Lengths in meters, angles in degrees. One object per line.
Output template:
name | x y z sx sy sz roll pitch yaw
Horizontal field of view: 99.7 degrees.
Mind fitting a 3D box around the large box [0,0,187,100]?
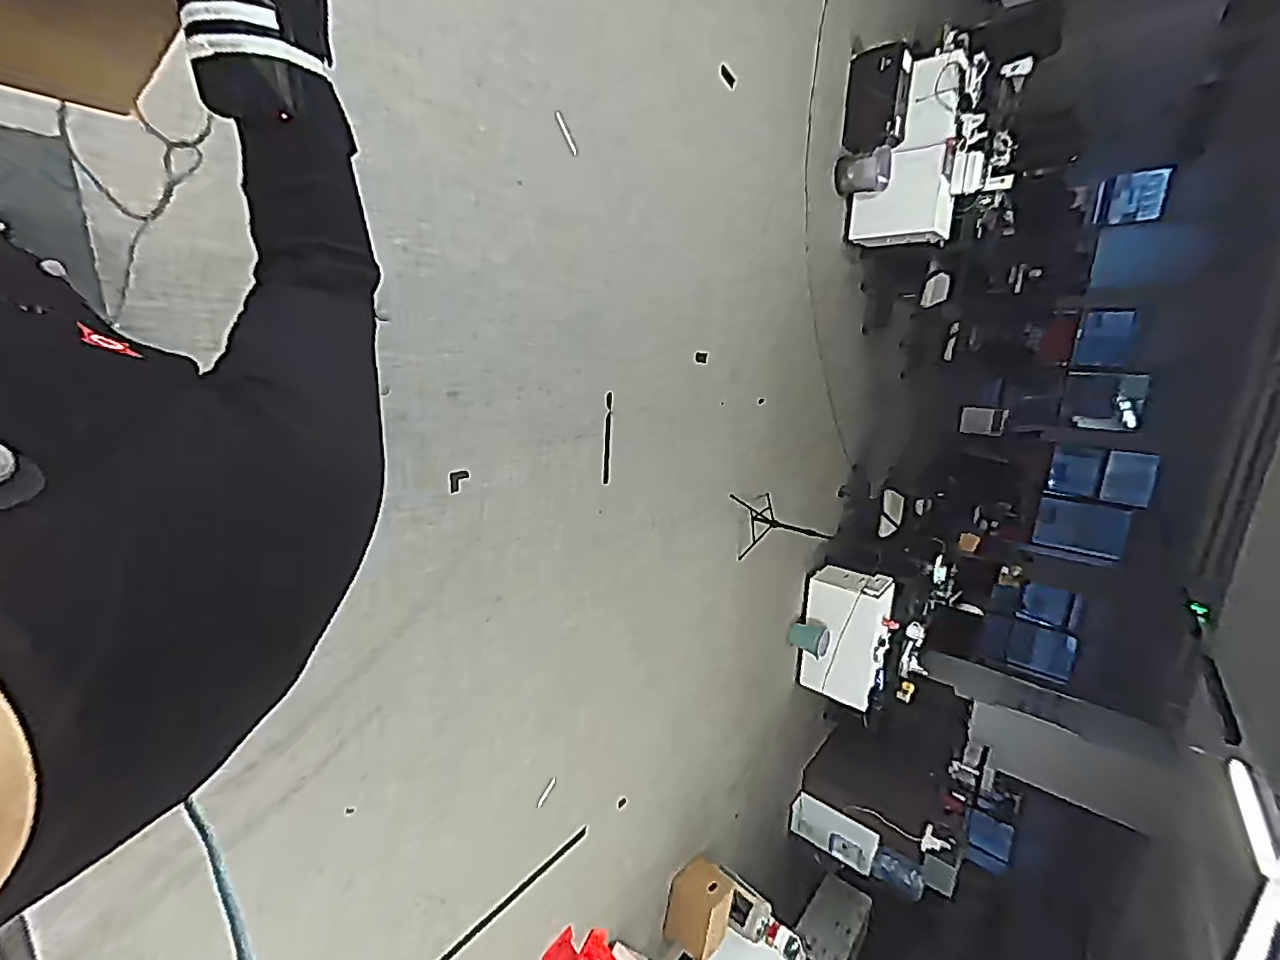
large box | -0.494 -0.450 0.237 0.408 0.320 0.320 -16 108 -50

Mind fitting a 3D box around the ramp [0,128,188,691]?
ramp | -1.196 -0.115 0.927 0.509 0.206 0.991 -17 113 -46
